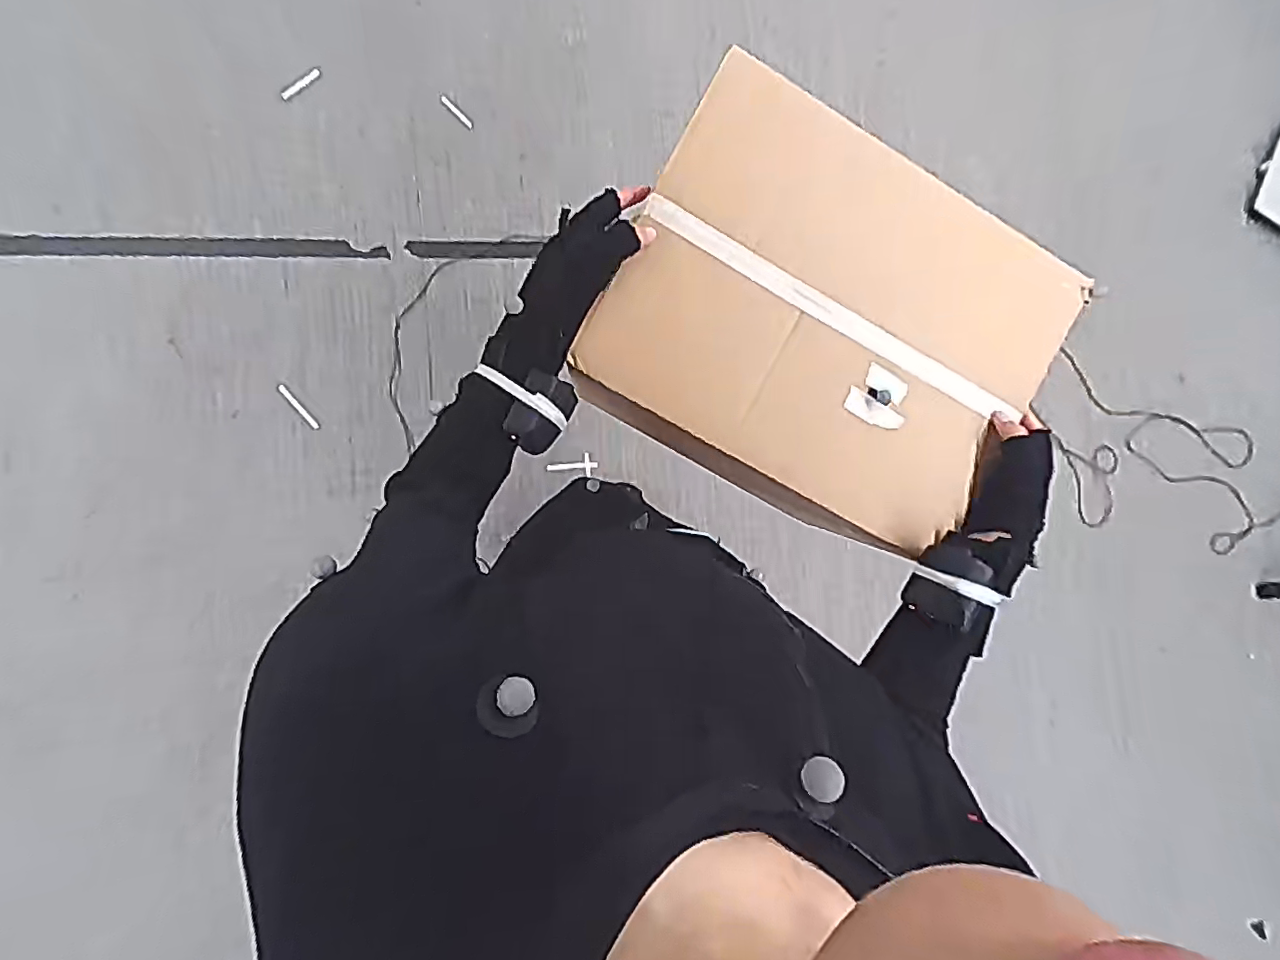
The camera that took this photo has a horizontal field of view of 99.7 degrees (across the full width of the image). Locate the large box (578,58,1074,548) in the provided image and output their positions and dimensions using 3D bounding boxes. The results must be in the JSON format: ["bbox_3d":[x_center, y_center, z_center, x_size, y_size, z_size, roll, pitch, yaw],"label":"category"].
[{"bbox_3d":[0.168,-0.166,0.655,0.408,0.320,0.320,29,92,-7],"label":"large box"}]
